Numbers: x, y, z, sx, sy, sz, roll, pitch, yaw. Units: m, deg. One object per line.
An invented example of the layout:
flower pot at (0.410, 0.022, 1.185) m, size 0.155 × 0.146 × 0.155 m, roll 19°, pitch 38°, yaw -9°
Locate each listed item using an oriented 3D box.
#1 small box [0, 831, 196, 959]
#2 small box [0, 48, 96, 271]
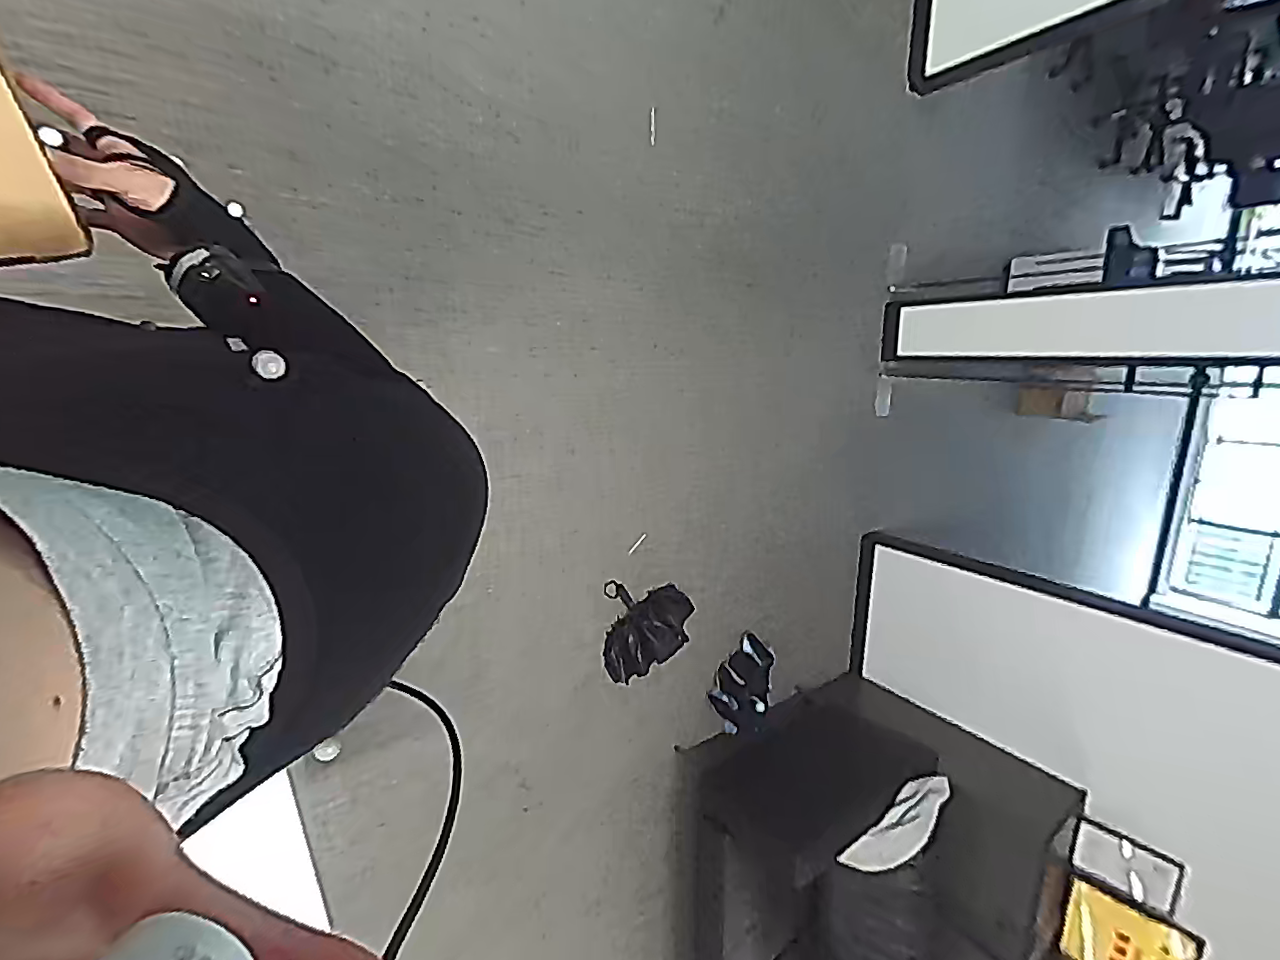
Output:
small box at (-0.732, 0.635, 0.733) m, size 0.168 × 0.176 × 0.179 m, roll -18°, pitch 112°, yaw -33°
small box at (-0.505, -0.233, 0.351) m, size 0.168 × 0.176 × 0.179 m, roll -28°, pitch 129°, yaw -34°
